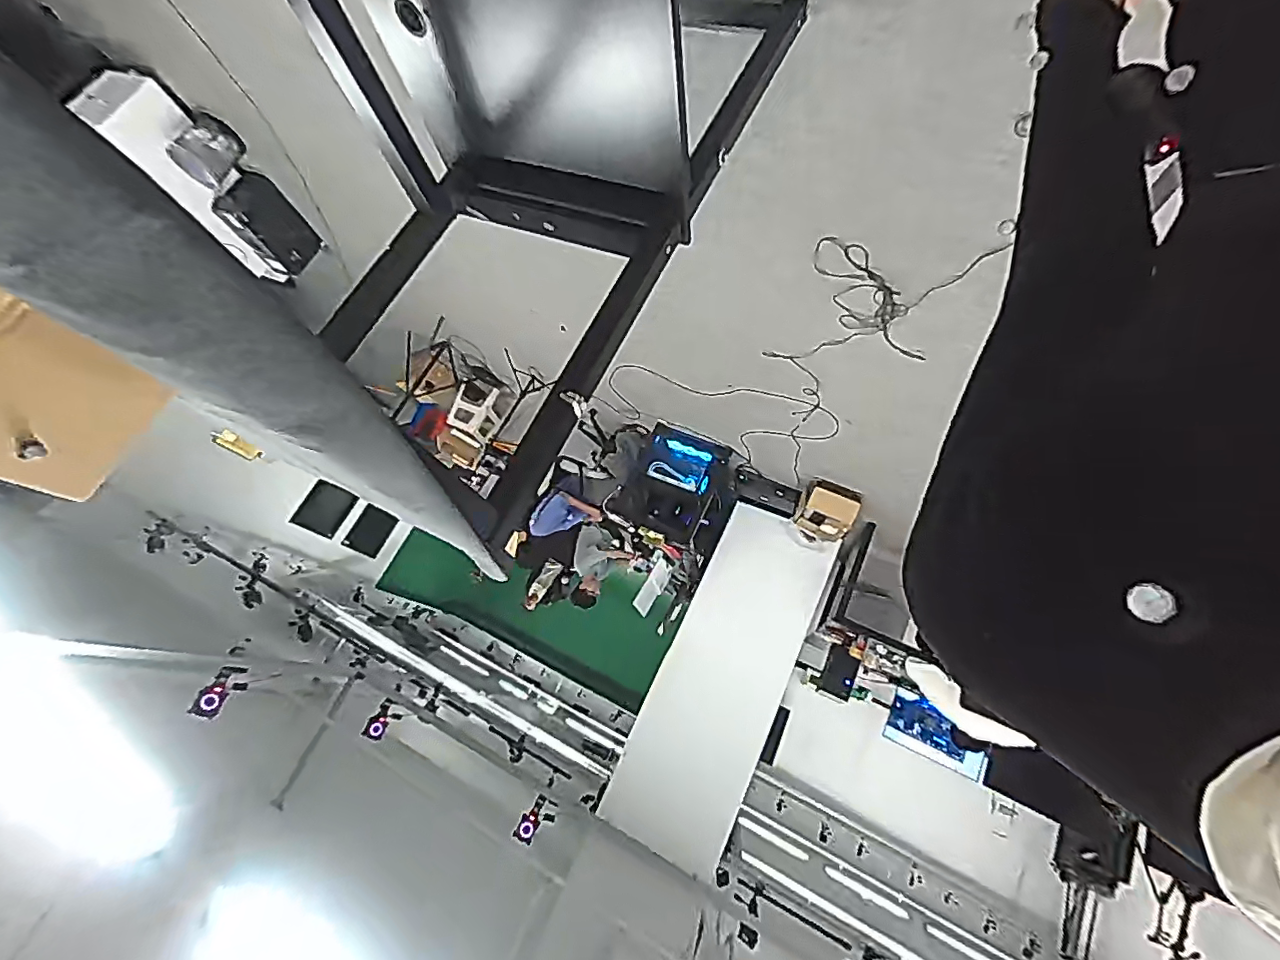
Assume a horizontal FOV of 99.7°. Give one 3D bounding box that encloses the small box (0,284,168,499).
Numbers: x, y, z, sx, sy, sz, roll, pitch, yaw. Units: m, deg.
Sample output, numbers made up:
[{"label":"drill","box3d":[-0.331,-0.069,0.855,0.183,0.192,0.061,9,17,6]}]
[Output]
[{"label":"small box","box3d":[-0.665,-0.108,0.555,0.168,0.176,0.179,24,164,12]}]
